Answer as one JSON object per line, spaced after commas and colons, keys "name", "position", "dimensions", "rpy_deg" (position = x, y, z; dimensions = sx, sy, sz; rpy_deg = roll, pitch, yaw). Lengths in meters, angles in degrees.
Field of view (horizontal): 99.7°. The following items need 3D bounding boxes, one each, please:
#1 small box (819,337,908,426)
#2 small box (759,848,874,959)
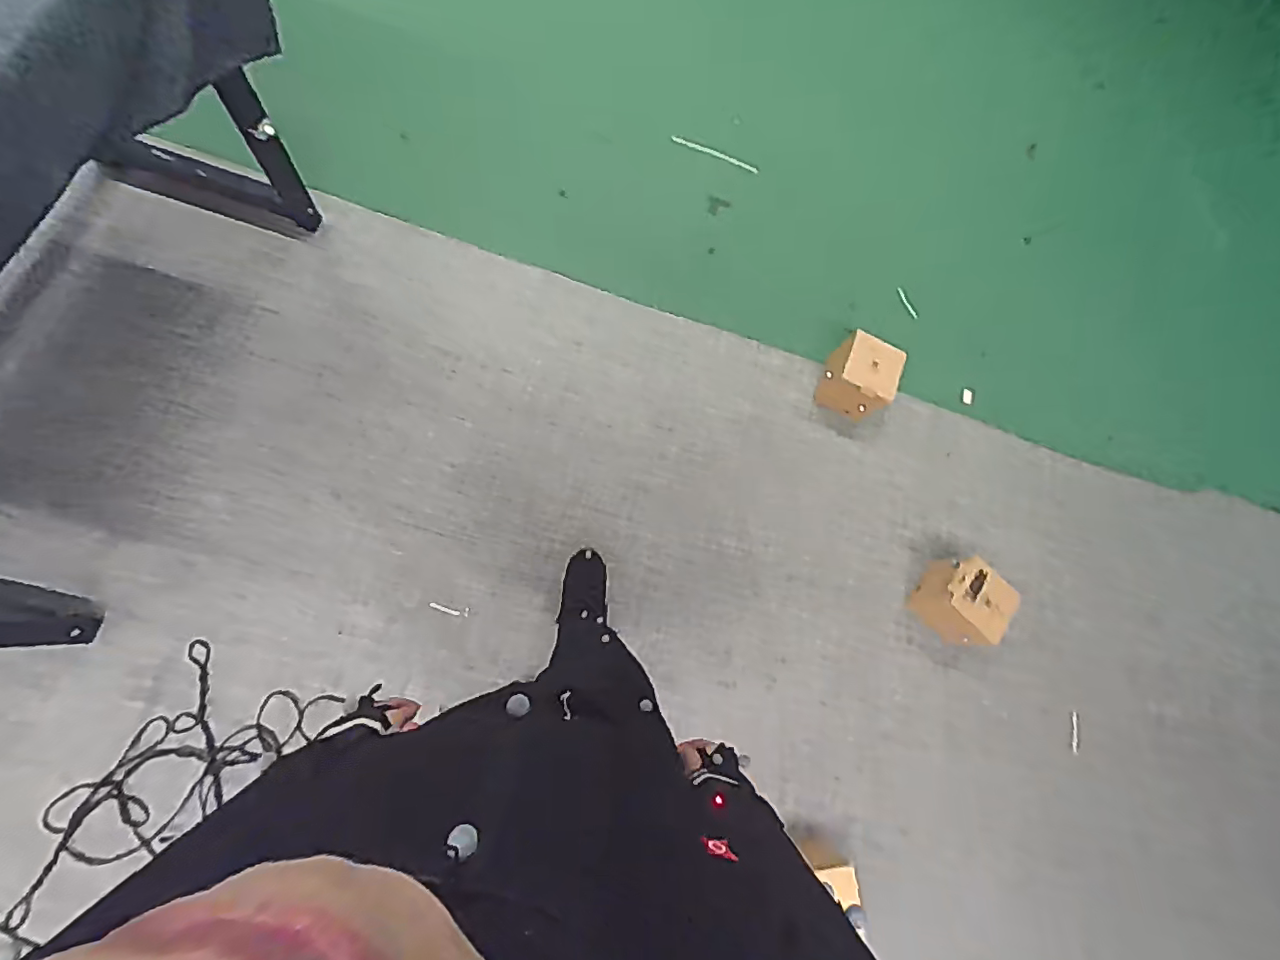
{"name": "small box", "position": [0.661, -0.287, 1.619], "dimensions": [0.168, 0.176, 0.179], "rpy_deg": [25, 71, -5]}
{"name": "small box", "position": [0.388, 0.959, 1.215], "dimensions": [0.179, 0.176, 0.168], "rpy_deg": [-3, 75, -11]}
